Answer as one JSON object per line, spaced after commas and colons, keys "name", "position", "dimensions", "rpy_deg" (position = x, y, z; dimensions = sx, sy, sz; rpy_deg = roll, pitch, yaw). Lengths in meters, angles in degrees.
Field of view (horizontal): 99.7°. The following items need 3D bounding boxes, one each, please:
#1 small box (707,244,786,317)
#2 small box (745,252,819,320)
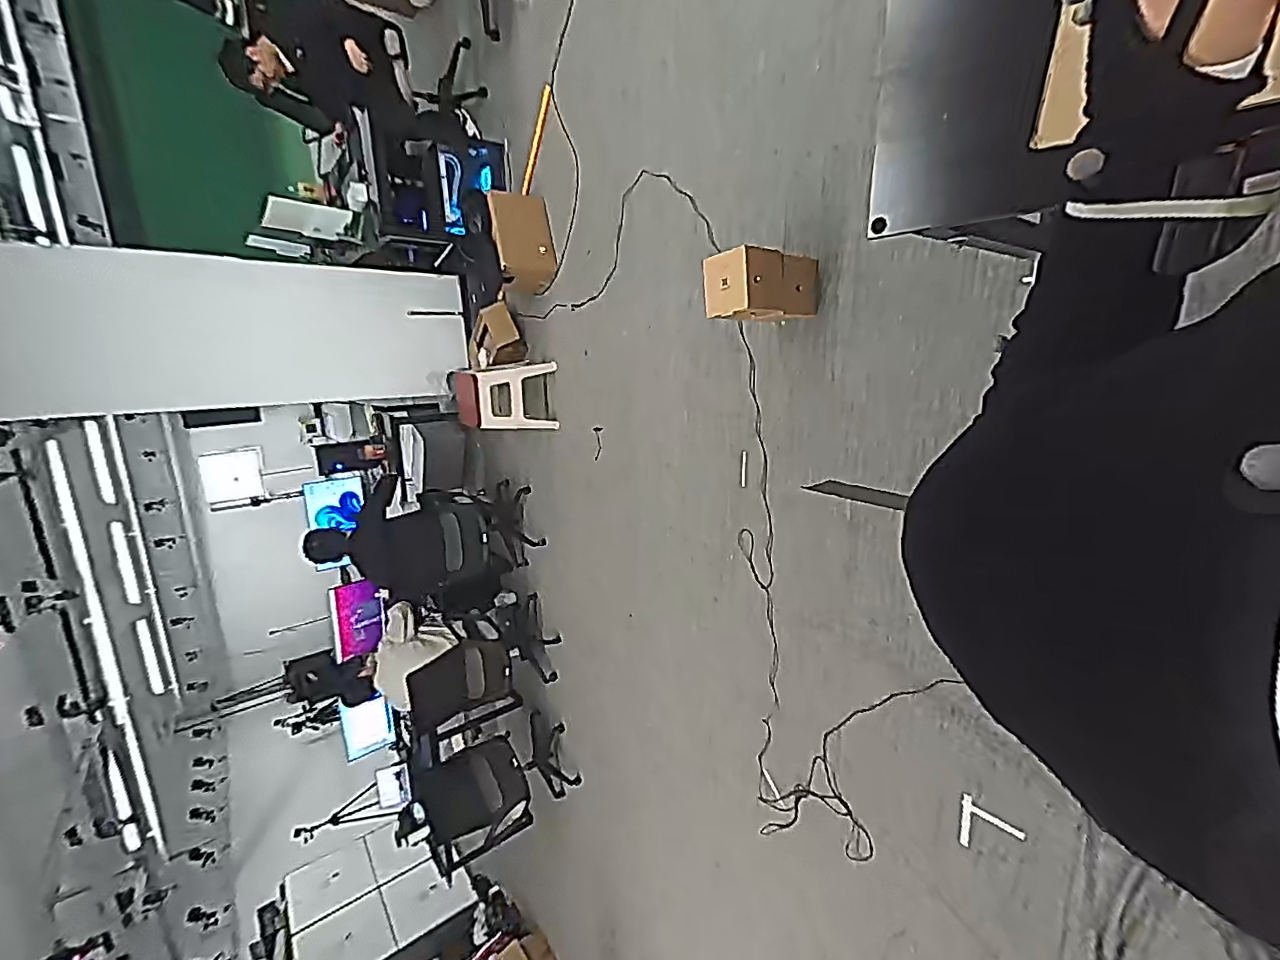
{"name": "small box", "position": [0.319, -0.587, 1.610], "dimensions": [0.168, 0.176, 0.179], "rpy_deg": [6, 103, 52]}
{"name": "small box", "position": [0.448, -0.606, 1.707], "dimensions": [0.168, 0.176, 0.179], "rpy_deg": [11, 108, 52]}
